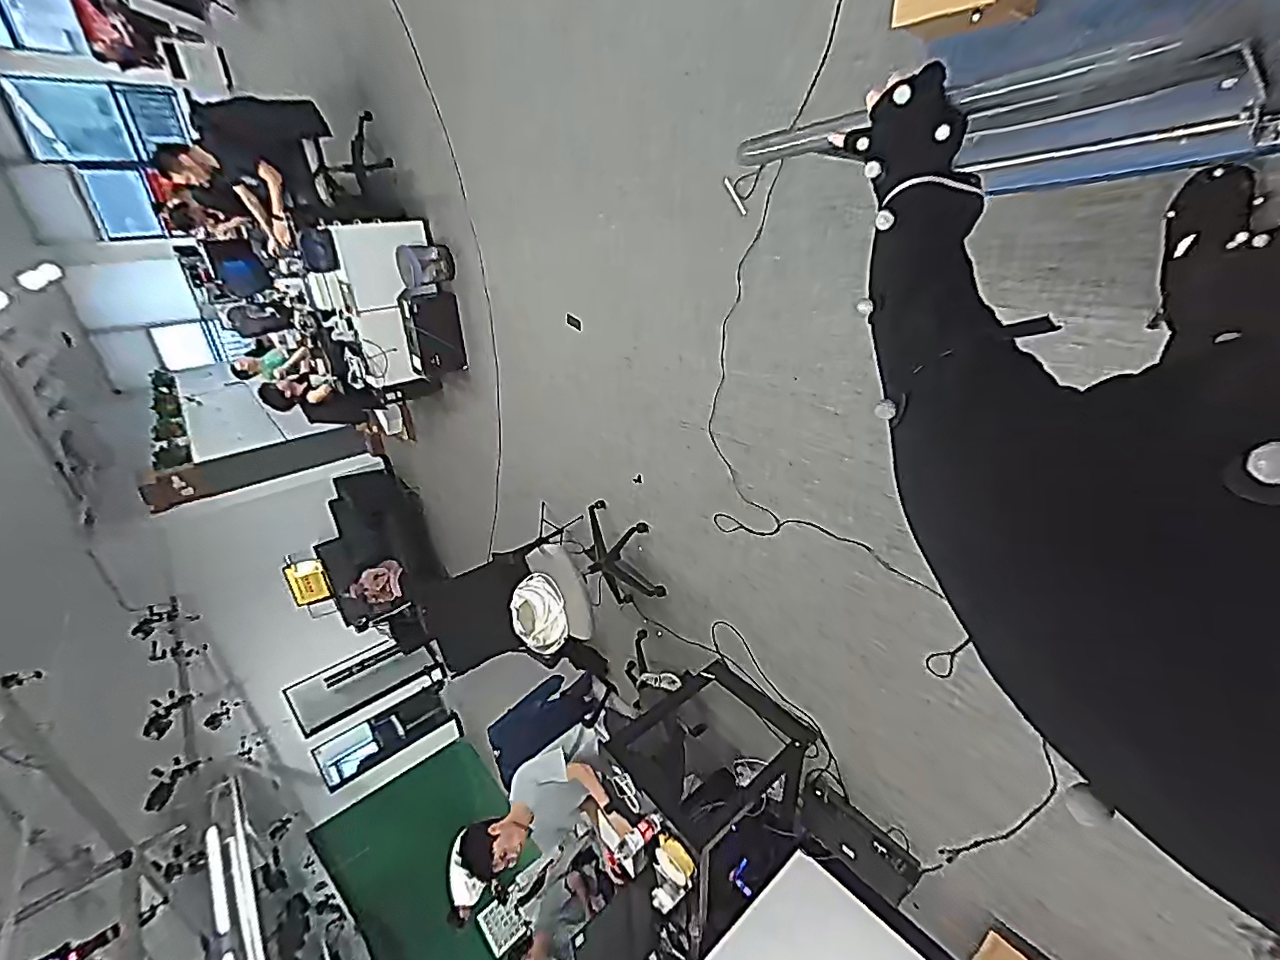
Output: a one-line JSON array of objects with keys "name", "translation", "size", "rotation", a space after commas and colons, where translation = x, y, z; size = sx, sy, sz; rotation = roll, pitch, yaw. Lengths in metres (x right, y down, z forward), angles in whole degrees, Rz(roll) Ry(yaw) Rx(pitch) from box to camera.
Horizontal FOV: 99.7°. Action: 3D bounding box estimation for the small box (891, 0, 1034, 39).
[{"name": "small box", "translation": [0.568, -0.889, 0.929], "size": [0.179, 0.176, 0.168], "rotation": [25, 128, 43]}]
